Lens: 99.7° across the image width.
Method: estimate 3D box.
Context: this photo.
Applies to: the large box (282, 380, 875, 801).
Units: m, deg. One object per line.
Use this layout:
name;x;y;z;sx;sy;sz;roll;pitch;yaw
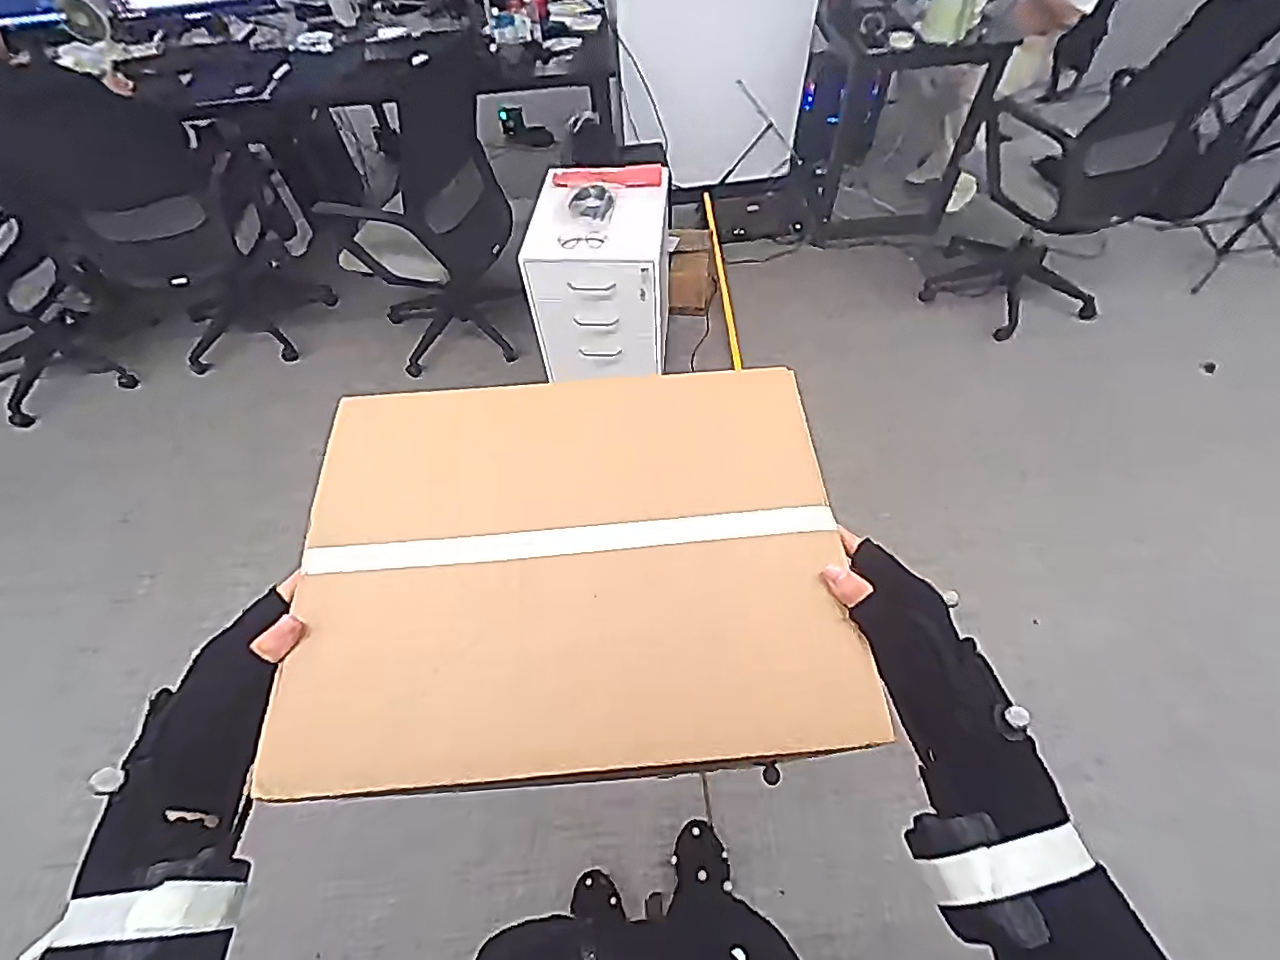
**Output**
large box;-0.046;0.127;0.558;0.408;0.320;0.320;-5;60;-1
